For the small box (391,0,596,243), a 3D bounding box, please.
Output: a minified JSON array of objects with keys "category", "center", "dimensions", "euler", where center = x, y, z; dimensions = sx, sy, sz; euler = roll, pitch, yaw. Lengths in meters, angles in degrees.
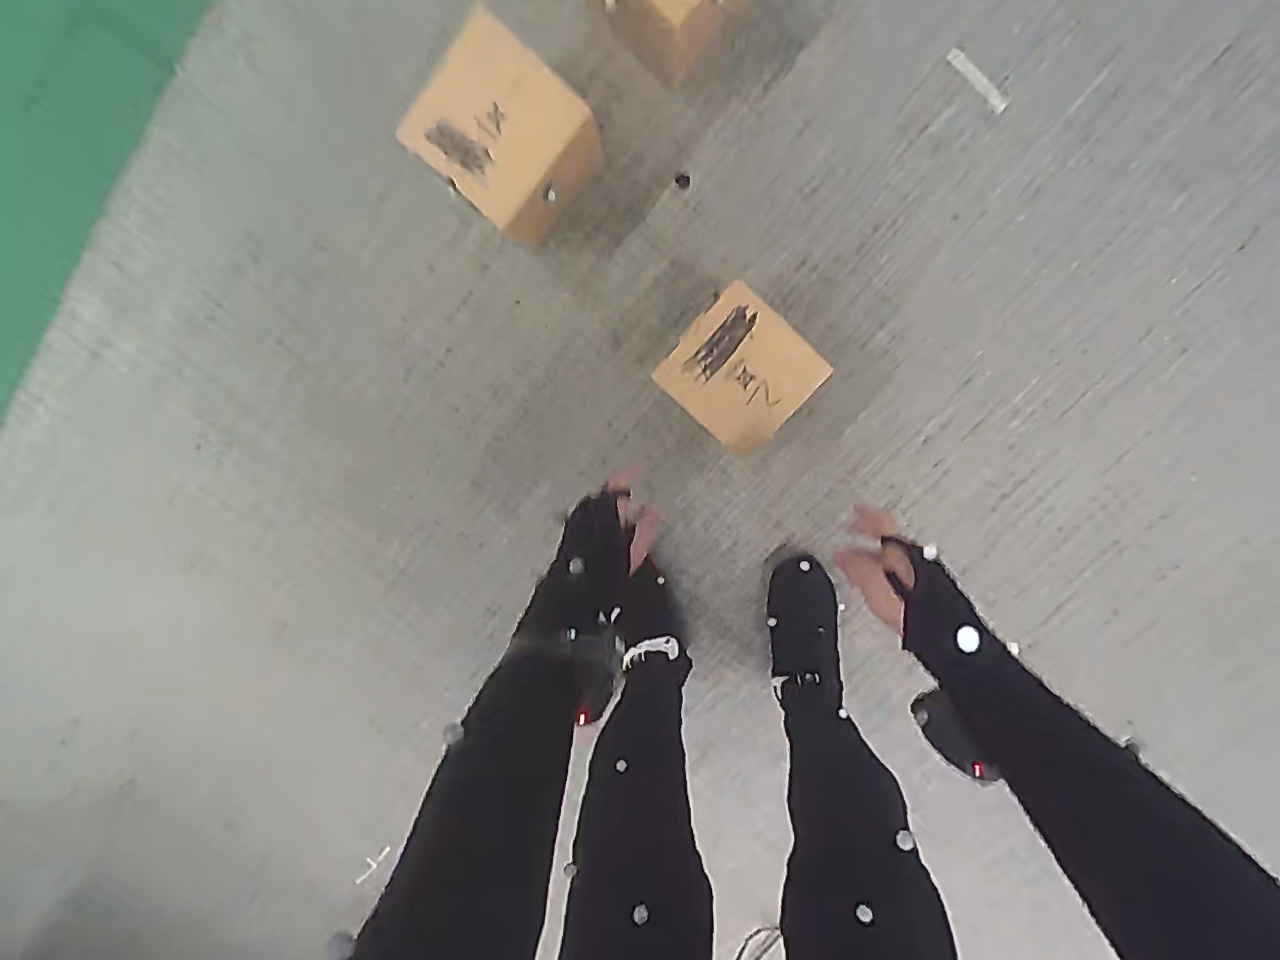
[{"category":"small box","center":[-0.172,-0.437,0.698],"dimensions":[0.168,0.176,0.179],"euler":[40,103,-8]}]
